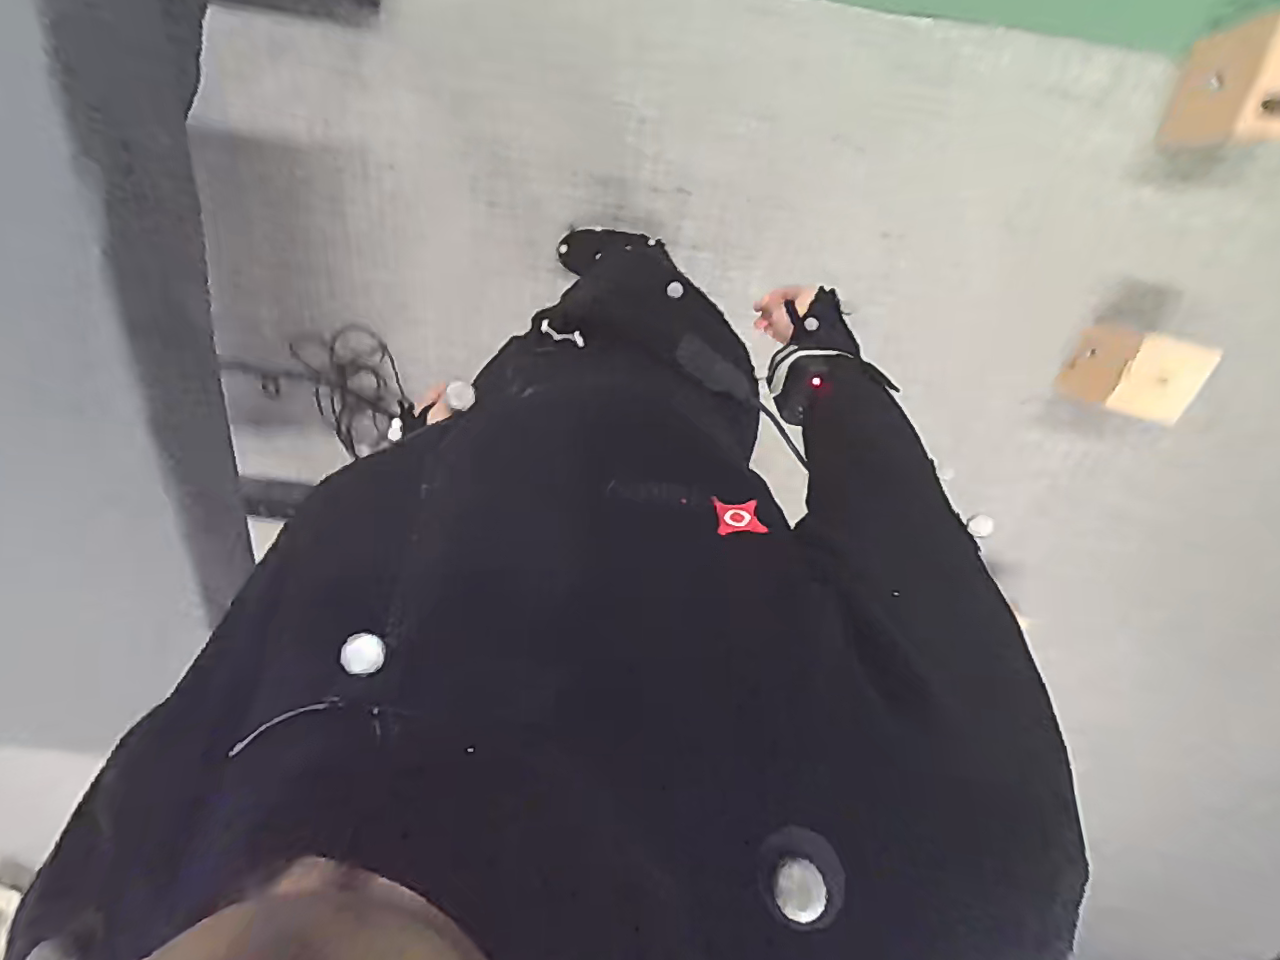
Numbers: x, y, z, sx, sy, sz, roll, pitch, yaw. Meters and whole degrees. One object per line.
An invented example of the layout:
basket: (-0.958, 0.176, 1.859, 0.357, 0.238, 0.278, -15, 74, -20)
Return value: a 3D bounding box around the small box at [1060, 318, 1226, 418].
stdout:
small box: (1.115, -0.257, 1.216, 0.179, 0.176, 0.168, 11, 115, -4)
